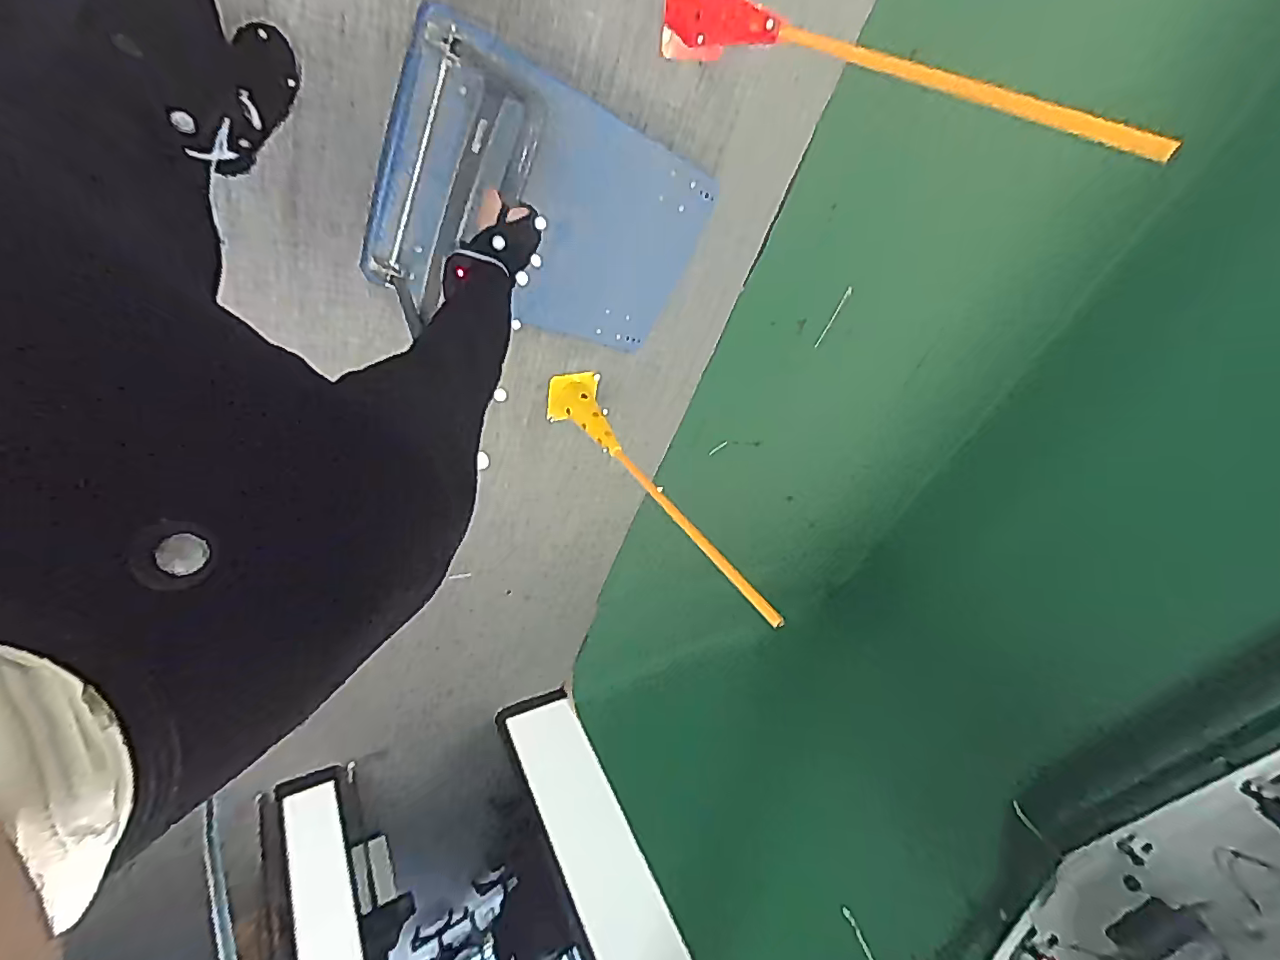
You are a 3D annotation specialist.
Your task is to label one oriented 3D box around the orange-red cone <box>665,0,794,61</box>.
[{"bbox_3d":[0.241,-1.117,1.309,0.198,0.360,0.199,-17,138,-26],"label":"orange-red cone"}]
